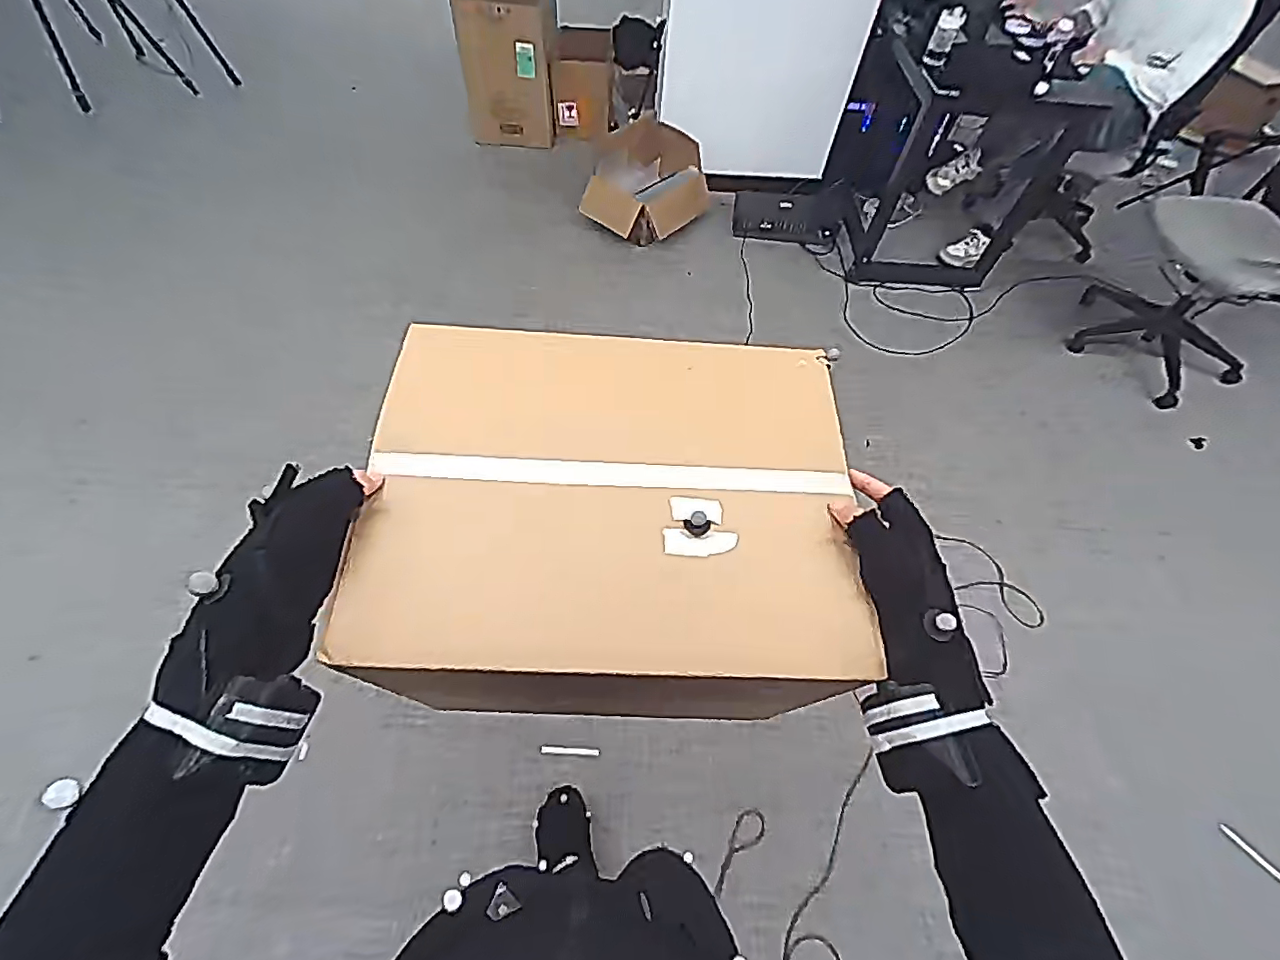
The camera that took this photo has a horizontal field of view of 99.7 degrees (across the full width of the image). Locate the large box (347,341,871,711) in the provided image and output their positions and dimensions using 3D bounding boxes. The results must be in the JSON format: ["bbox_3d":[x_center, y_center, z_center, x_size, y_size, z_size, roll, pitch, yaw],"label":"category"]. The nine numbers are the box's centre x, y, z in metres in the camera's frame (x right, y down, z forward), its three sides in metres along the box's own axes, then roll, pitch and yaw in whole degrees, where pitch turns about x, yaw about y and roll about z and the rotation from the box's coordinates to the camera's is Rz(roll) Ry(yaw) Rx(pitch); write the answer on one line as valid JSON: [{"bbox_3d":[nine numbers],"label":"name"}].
[{"bbox_3d":[-0.029,0.074,0.605,0.408,0.320,0.320,3,61,-3],"label":"large box"}]
